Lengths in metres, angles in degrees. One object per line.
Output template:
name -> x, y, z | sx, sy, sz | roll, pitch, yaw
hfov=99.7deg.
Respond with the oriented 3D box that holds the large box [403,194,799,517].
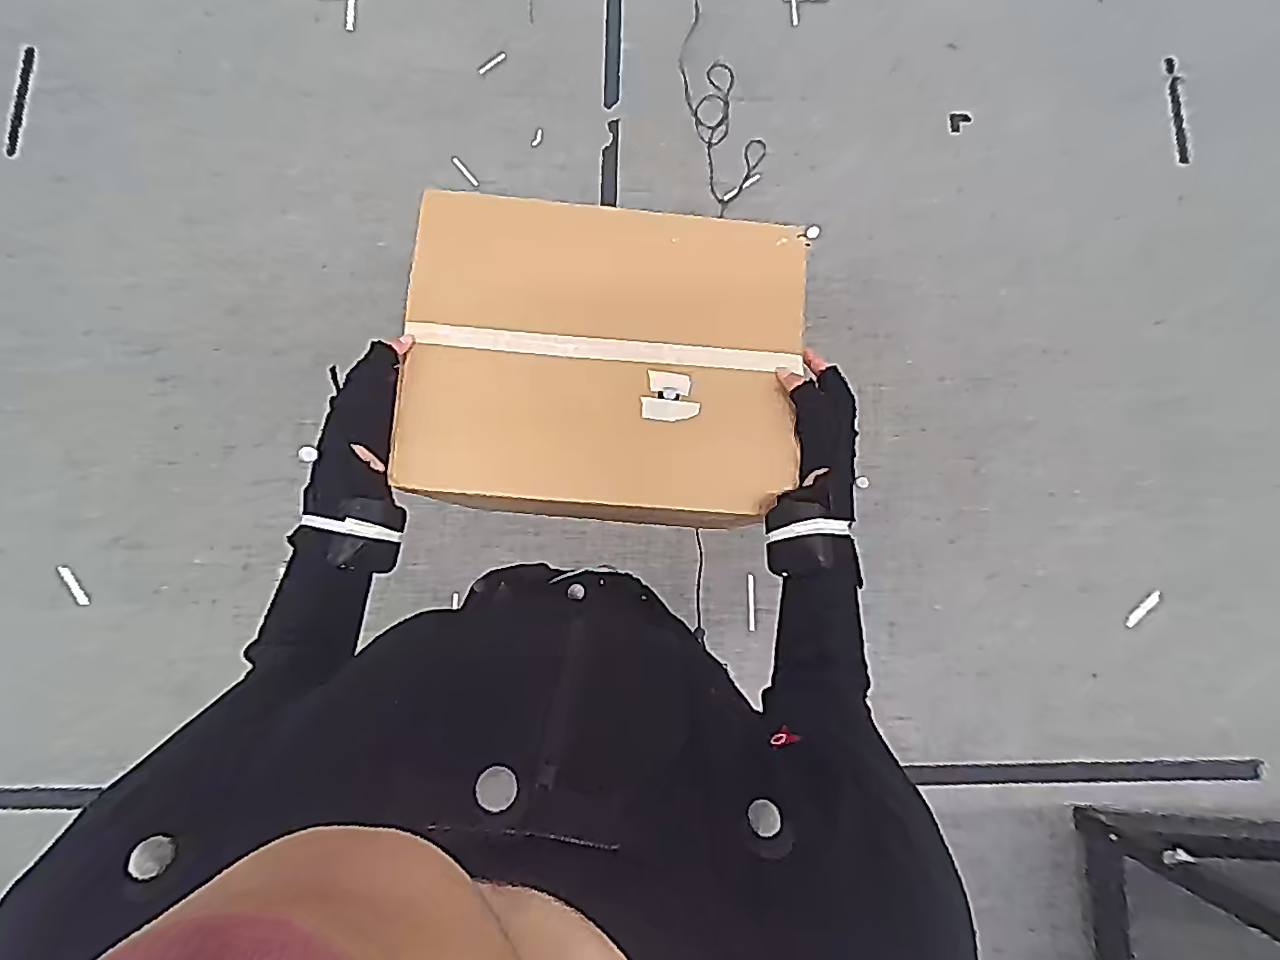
large box -> -0.043, -0.122, 0.712 | 0.408, 0.320, 0.320 | 5, 84, -3
